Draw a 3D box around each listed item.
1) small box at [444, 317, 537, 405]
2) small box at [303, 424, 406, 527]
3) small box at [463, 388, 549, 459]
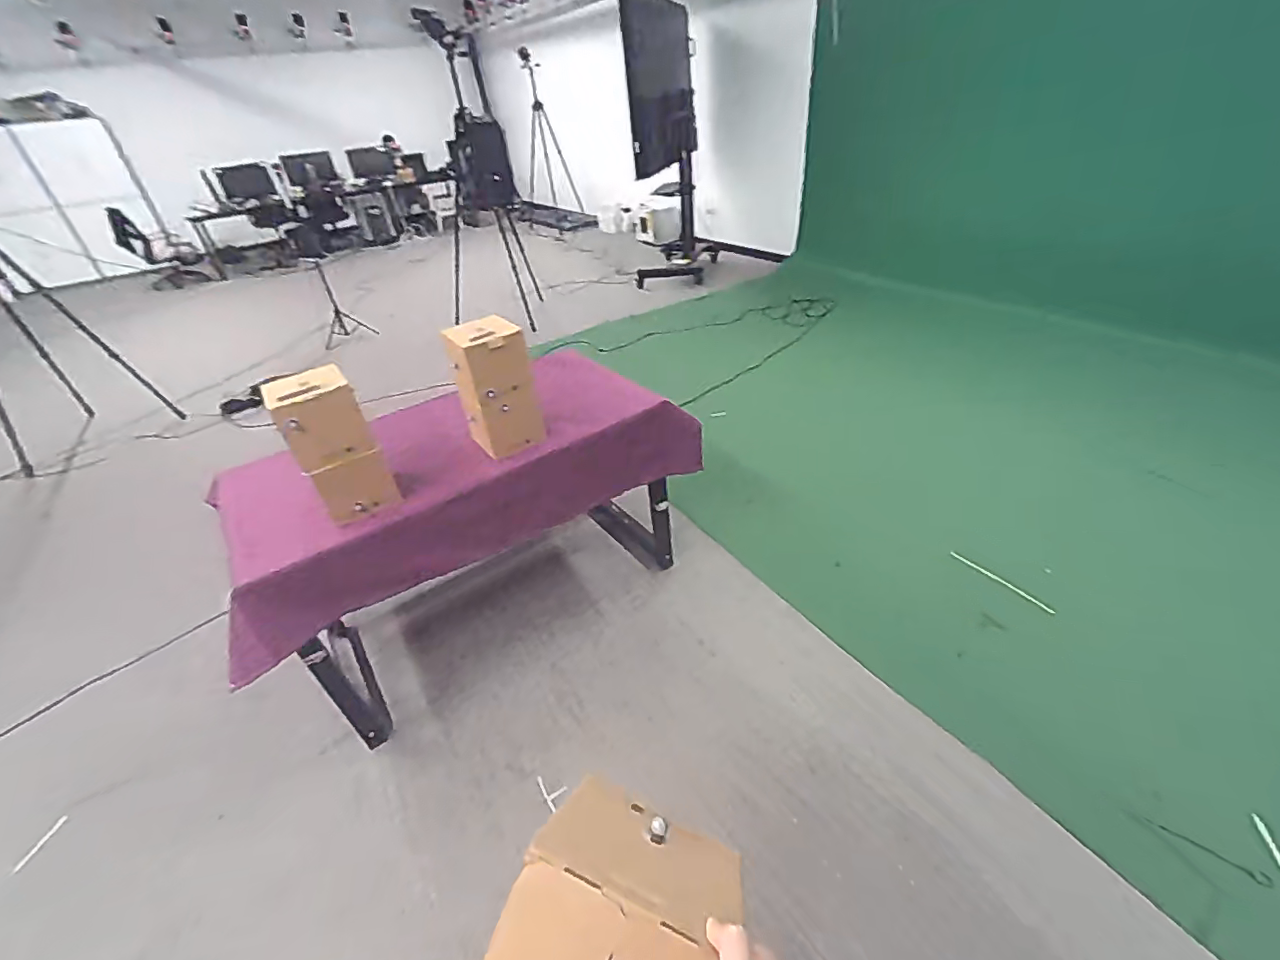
[{"bbox_3d":[-0.396,-0.318,1.453,0.168,0.176,0.179,-27,40,-26],"label":"small box"},{"bbox_3d":[-0.719,-0.012,1.366,0.168,0.176,0.179,-26,41,-24],"label":"small box"},{"bbox_3d":[-0.381,-0.184,1.548,0.168,0.176,0.179,-28,40,-25],"label":"small box"}]
